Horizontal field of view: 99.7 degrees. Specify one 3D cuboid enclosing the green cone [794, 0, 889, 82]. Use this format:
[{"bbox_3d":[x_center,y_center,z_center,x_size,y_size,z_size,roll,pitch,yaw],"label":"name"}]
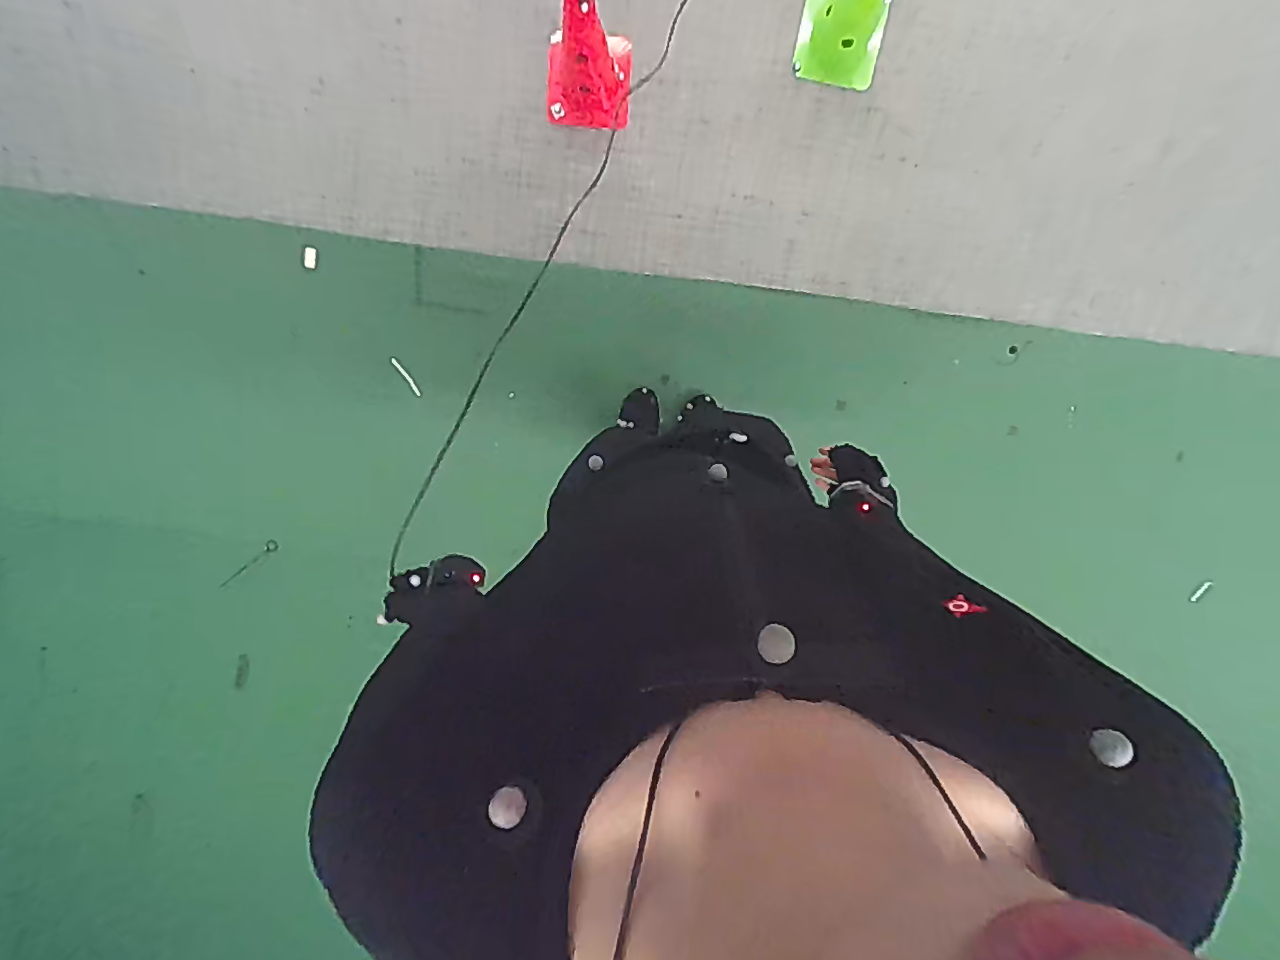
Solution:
[{"bbox_3d":[0.484,-1.041,1.124,0.200,0.368,0.202,9,101,-3],"label":"green cone"}]
